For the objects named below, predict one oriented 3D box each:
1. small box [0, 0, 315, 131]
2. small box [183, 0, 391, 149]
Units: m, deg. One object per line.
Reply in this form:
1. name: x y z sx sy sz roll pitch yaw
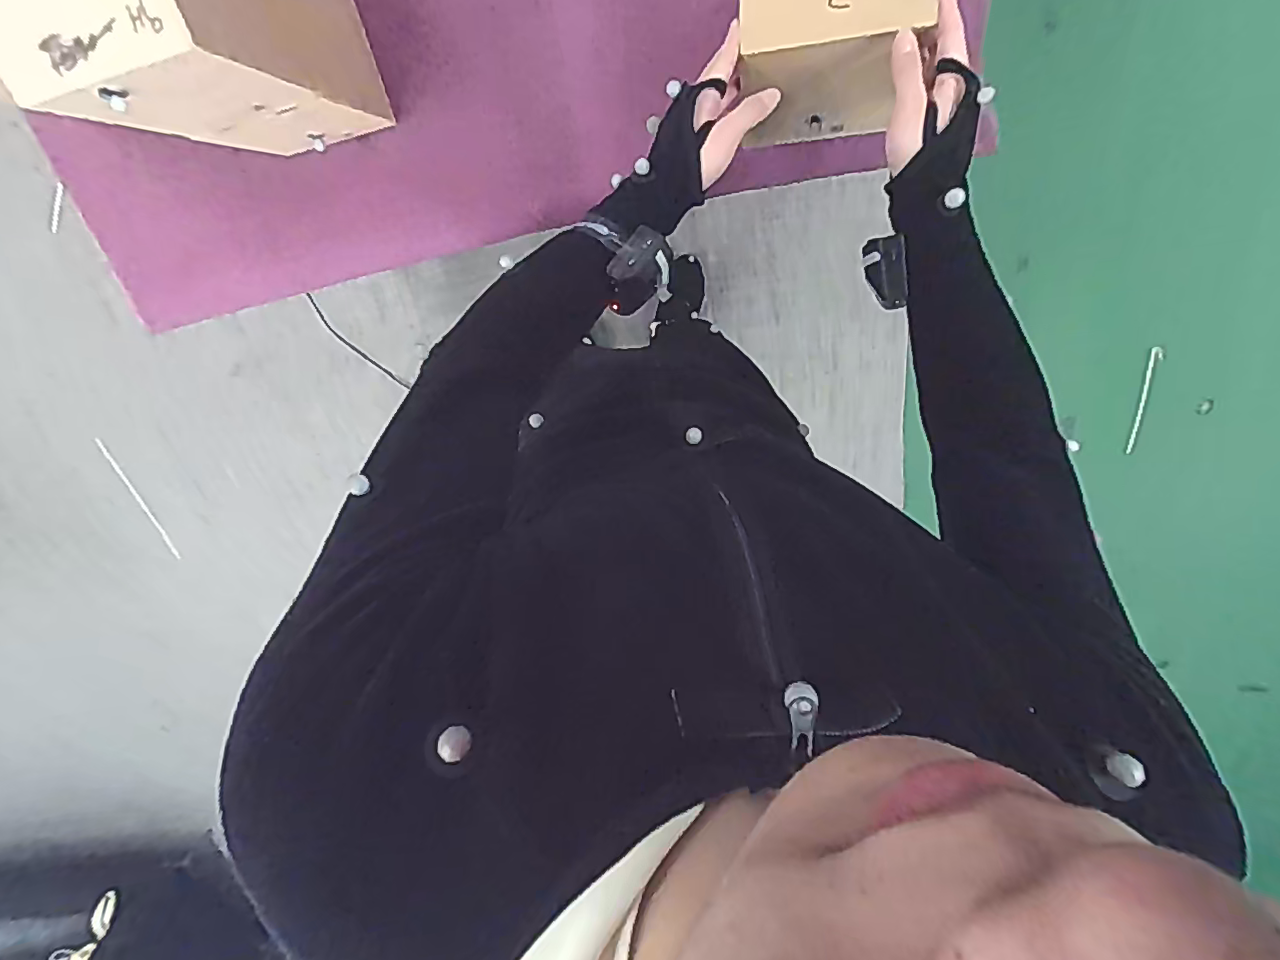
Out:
1. small box: -0.424 -0.423 0.453 0.168 0.176 0.179 -10 114 8
2. small box: -0.416 -0.493 0.601 0.168 0.176 0.179 -9 116 8
